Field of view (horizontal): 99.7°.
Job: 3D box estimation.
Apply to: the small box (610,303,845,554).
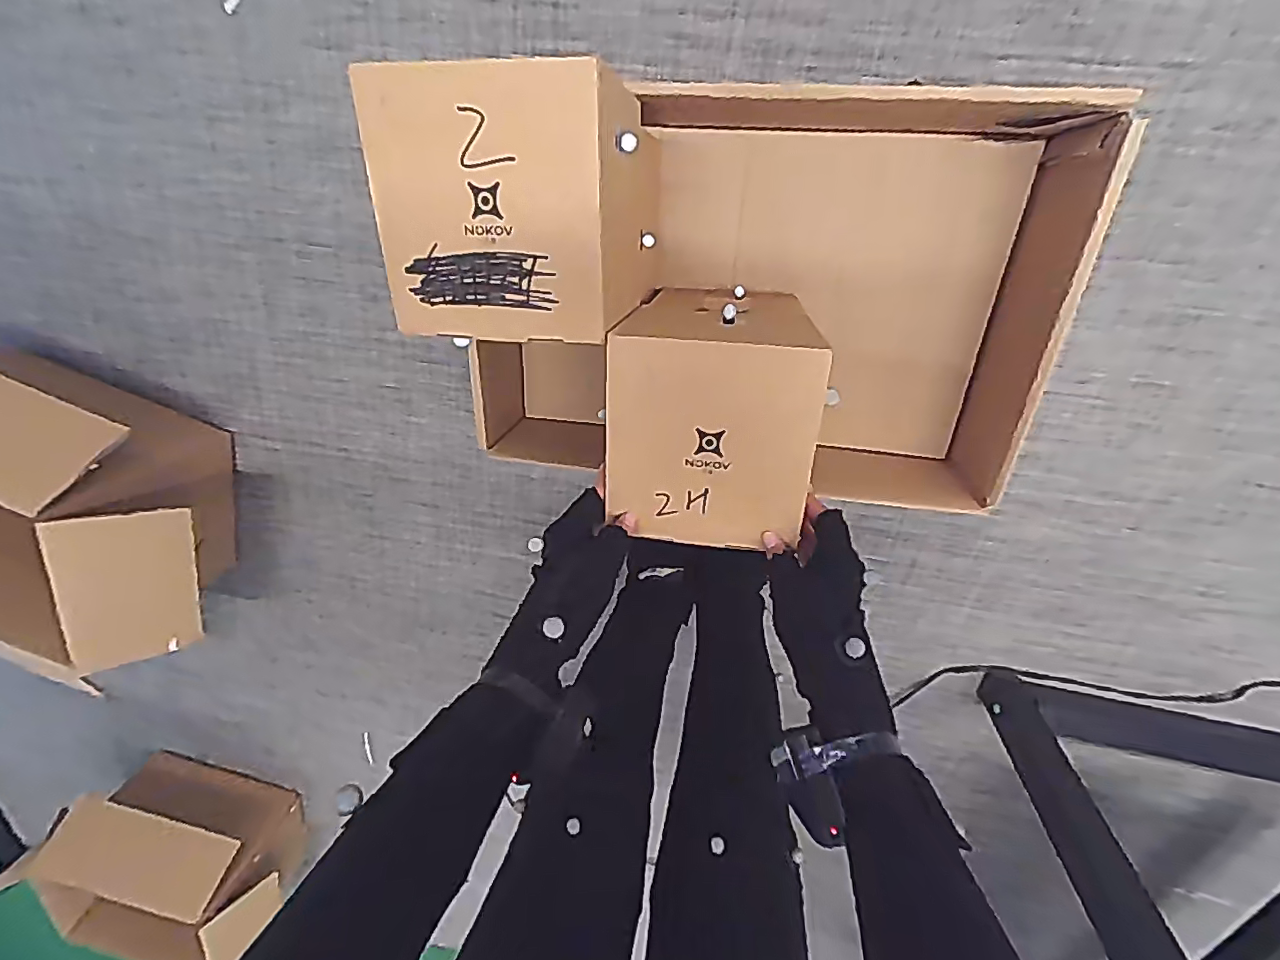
[{"bbox_3d":[0.071,-0.059,0.494,0.168,0.176,0.179,6,117,7],"label":"small box"}]
